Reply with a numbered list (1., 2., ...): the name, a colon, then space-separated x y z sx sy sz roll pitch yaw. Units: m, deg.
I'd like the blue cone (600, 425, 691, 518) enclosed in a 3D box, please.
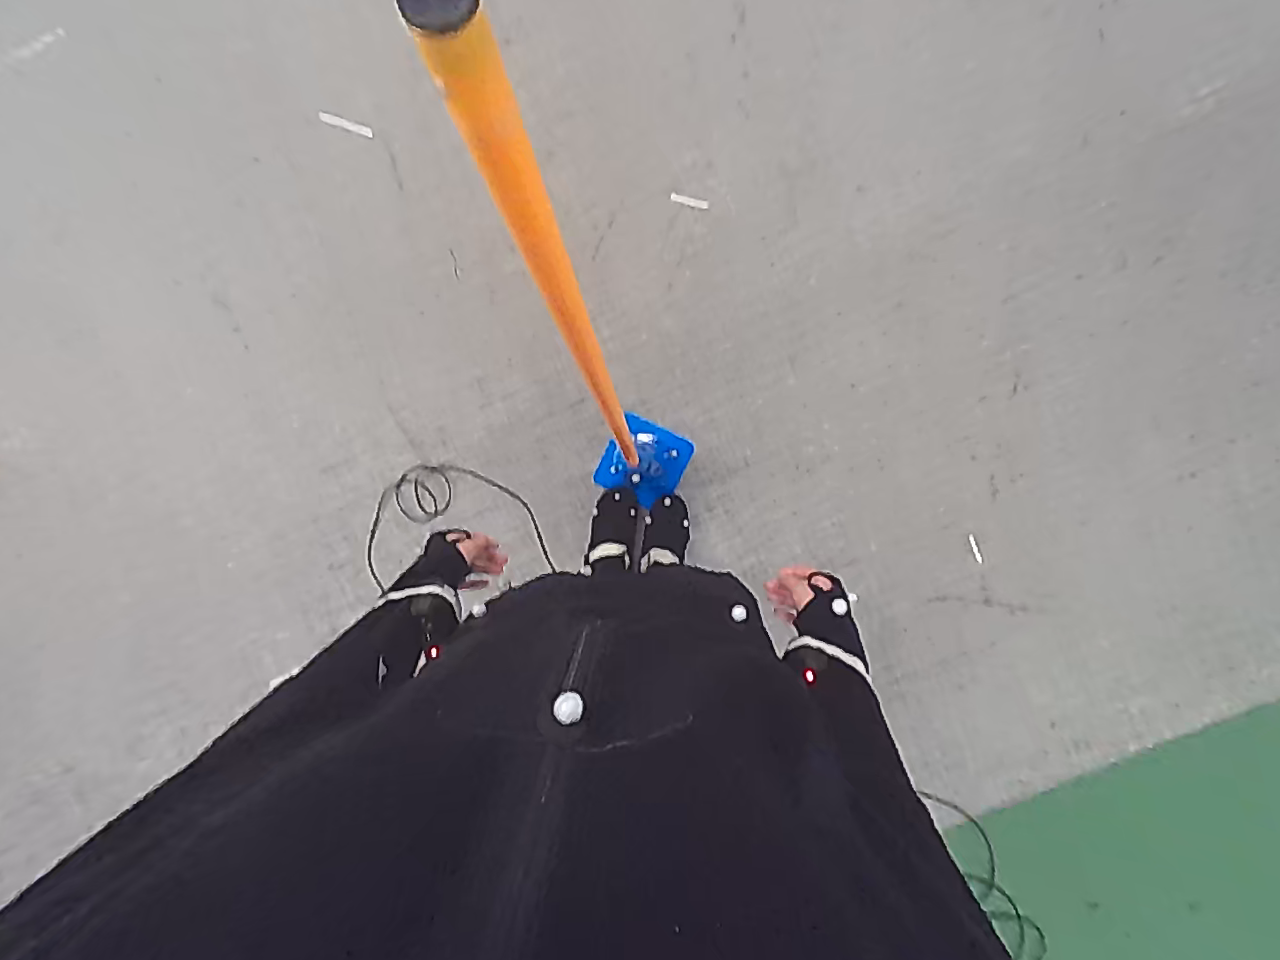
1. blue cone: 0.004 -0.023 1.149 0.192 0.380 0.193 25 91 3
